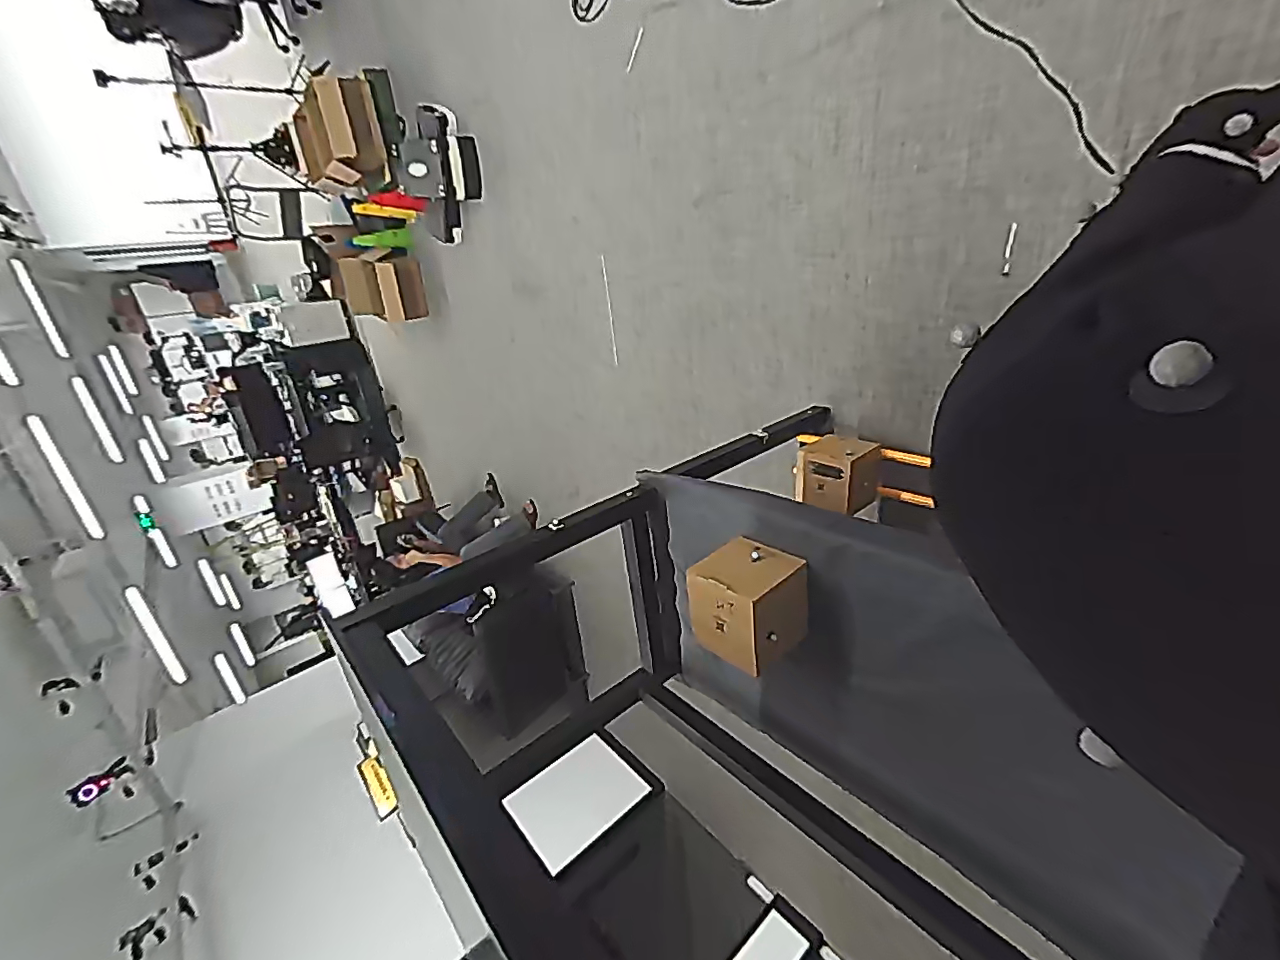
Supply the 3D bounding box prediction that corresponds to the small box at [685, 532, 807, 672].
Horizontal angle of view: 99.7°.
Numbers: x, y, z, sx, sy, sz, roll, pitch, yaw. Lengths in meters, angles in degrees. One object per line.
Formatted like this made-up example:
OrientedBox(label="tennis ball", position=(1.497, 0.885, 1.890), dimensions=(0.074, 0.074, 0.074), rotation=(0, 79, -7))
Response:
OrientedBox(label="small box", position=(0.210, 0.228, 1.057), dimensions=(0.168, 0.176, 0.179), rotation=(18, 124, 46))
